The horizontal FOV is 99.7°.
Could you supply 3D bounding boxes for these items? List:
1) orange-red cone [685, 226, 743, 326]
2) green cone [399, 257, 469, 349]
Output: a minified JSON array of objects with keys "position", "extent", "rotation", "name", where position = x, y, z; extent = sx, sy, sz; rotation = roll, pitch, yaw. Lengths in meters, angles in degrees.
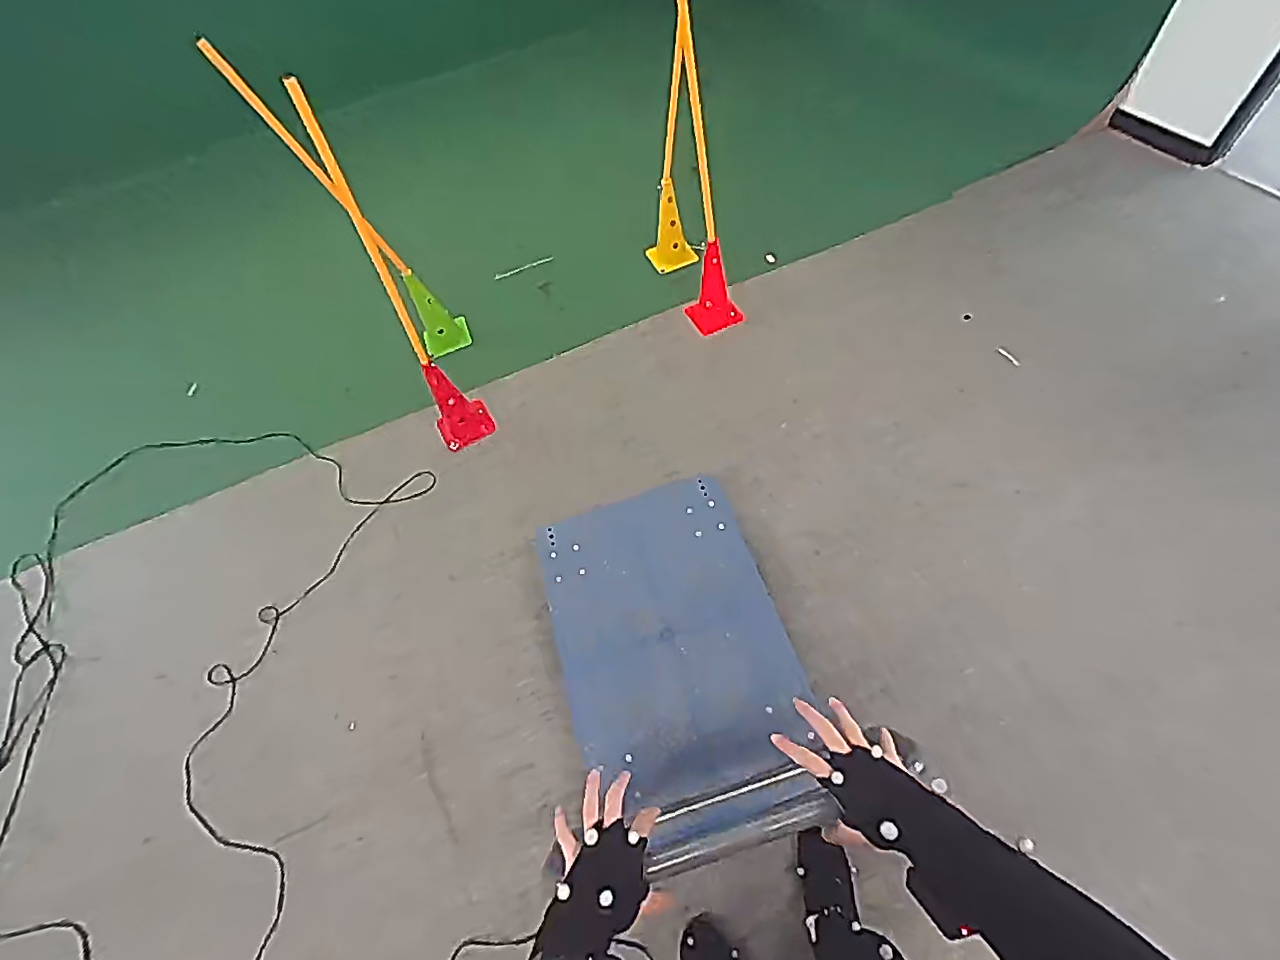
[{"position":[0.286,-0.821,2.119],"extent":[0.198,0.360,0.199],"rotation":[-23,56,-6],"name":"orange-red cone"},{"position":[-0.894,-0.765,2.264],"extent":[0.200,0.368,0.202],"rotation":[-24,57,-5],"name":"green cone"}]
